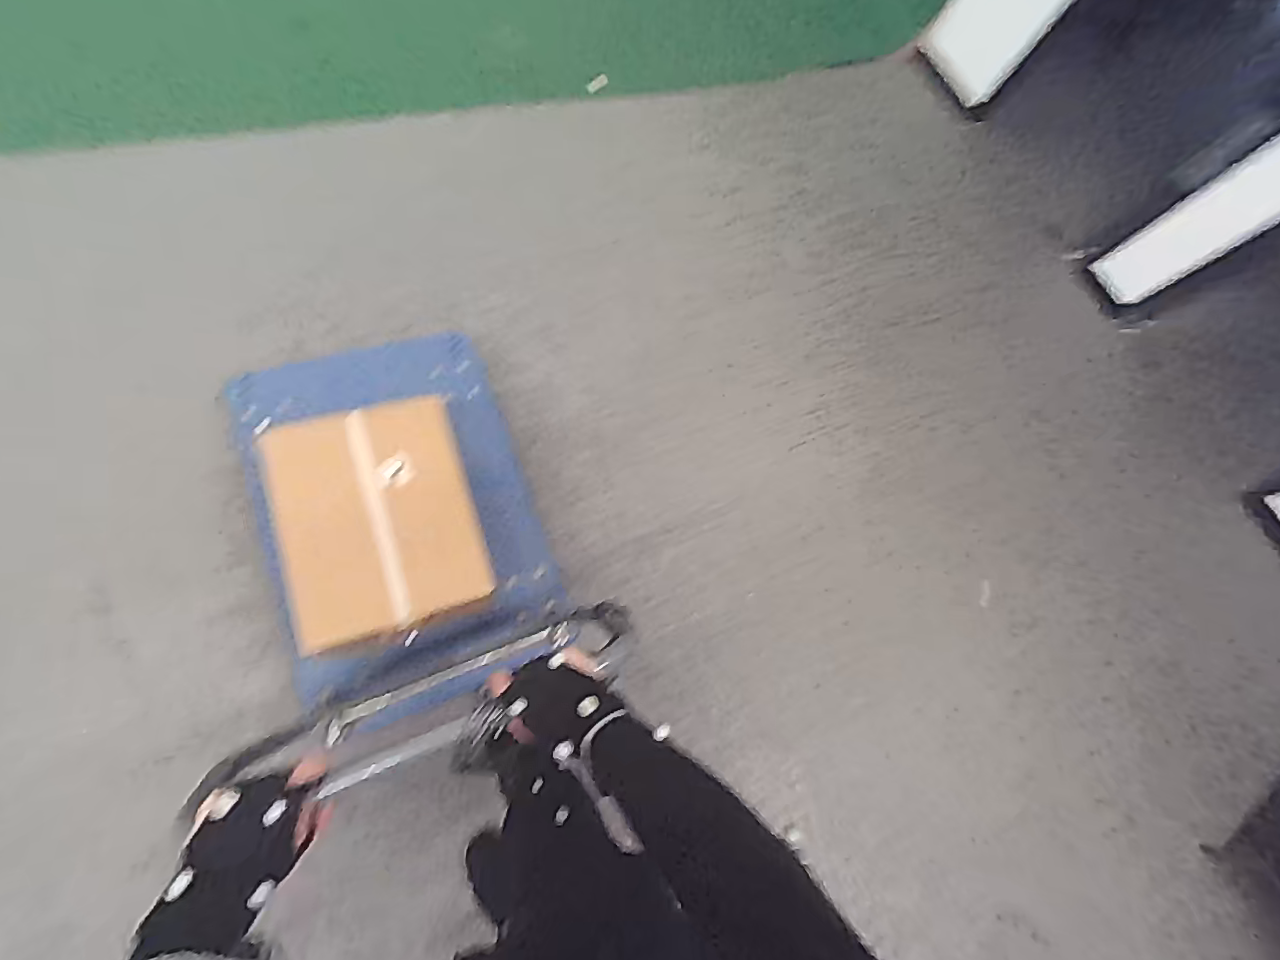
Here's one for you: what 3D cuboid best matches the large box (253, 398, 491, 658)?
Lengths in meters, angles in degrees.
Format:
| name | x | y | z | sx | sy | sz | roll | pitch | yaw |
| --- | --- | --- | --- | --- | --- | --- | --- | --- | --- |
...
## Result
| name | x | y | z | sx | sy | sz | roll | pitch | yaw |
| --- | --- | --- | --- | --- | --- | --- | --- | --- | --- |
| large box | -0.509 | 0.106 | 1.090 | 0.320 | 0.320 | 0.408 | -16 | 75 | -20 |
